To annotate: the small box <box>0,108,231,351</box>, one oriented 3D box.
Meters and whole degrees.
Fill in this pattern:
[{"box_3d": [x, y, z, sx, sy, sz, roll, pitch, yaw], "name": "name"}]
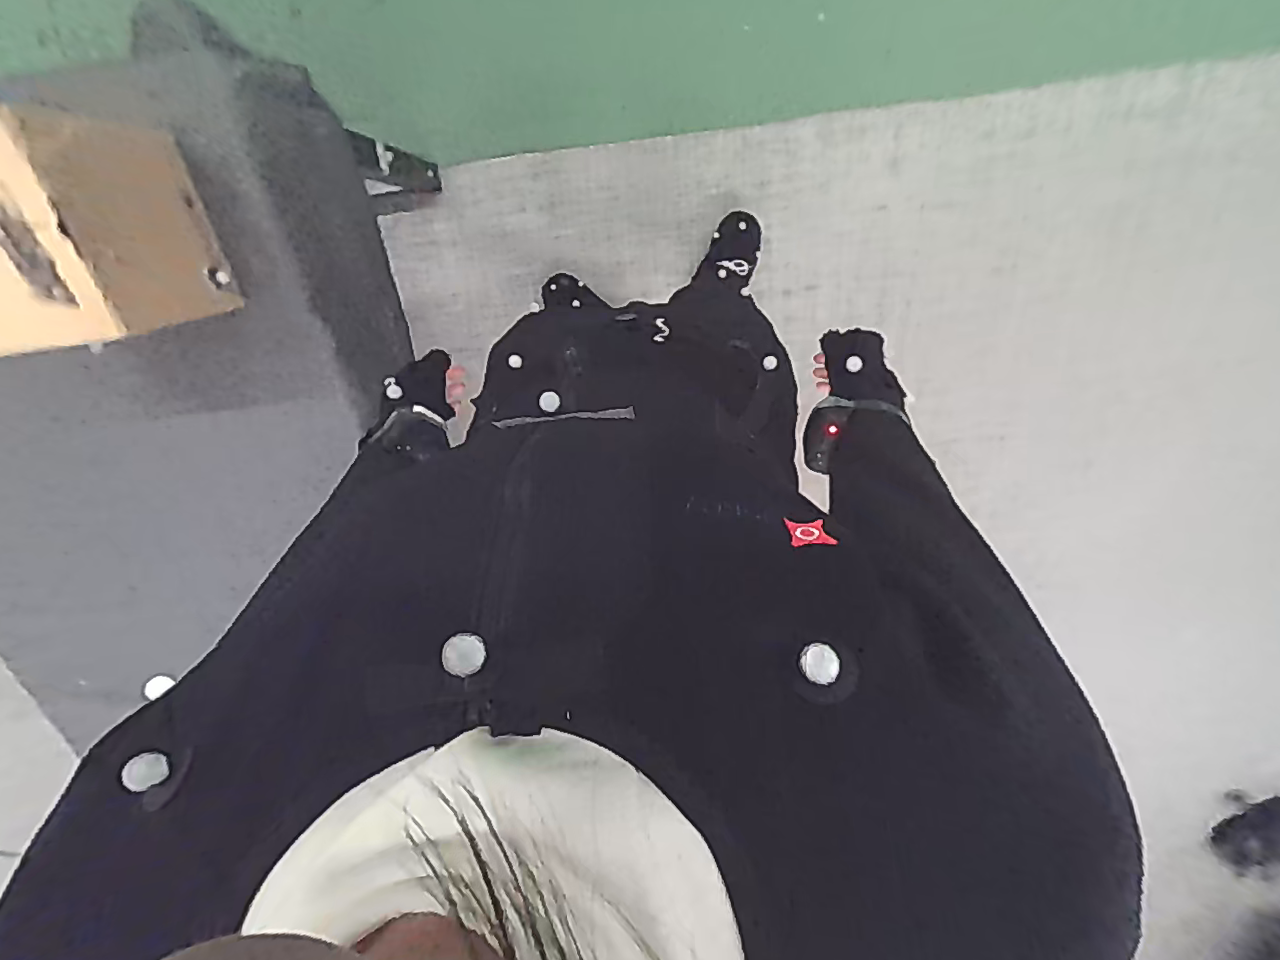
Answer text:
[{"box_3d": [-0.527, -0.222, 0.495, 0.179, 0.176, 0.168, -7, 116, 2], "name": "small box"}]
